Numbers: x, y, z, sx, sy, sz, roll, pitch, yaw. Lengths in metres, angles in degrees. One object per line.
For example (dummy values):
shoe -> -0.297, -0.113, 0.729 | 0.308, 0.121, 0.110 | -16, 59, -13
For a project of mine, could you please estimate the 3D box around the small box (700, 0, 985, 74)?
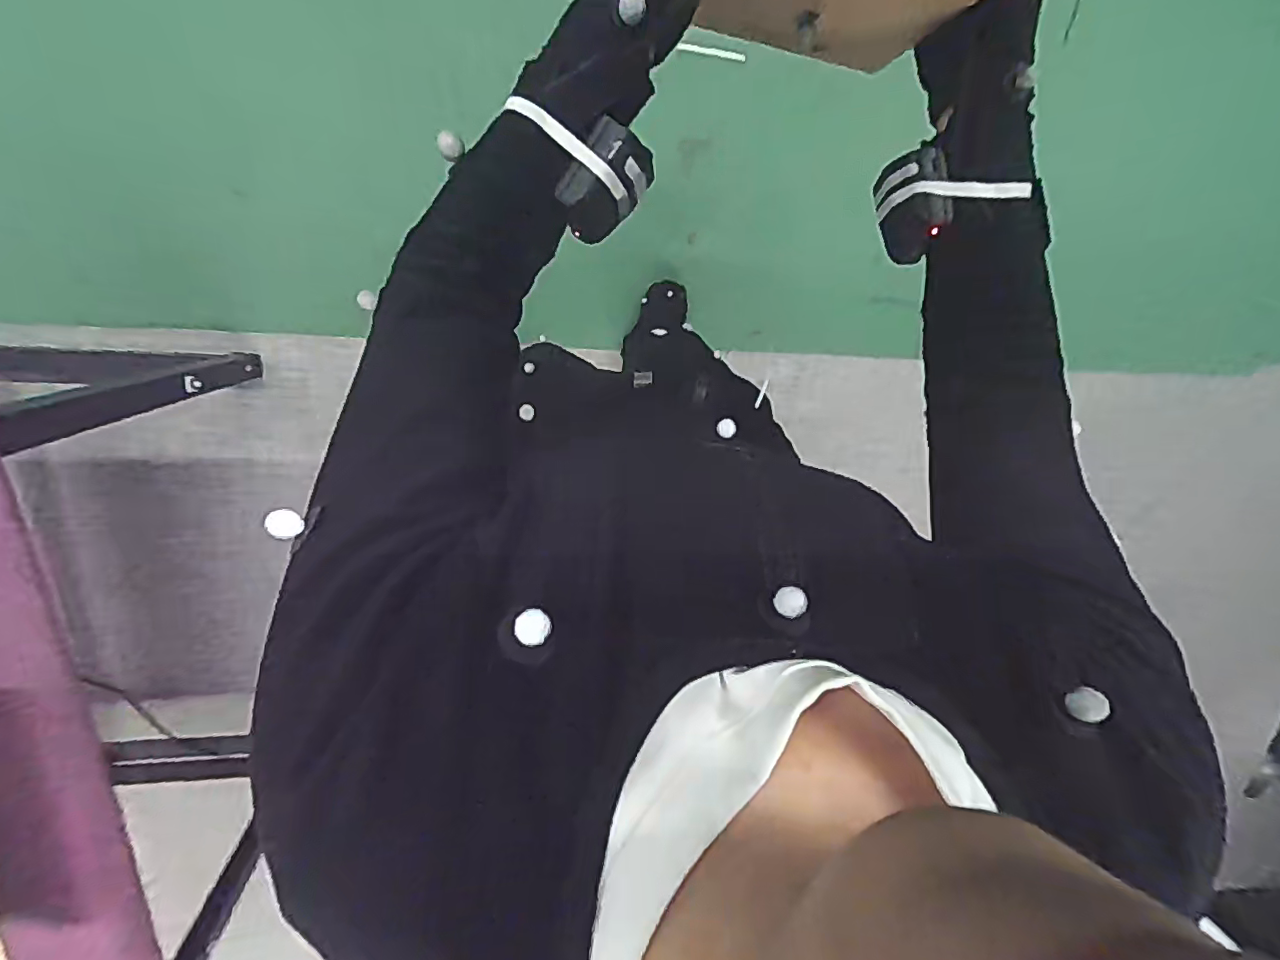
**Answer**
small box -> 0.144, -0.405, 0.343 | 0.168, 0.176, 0.179 | 8, 109, -9
